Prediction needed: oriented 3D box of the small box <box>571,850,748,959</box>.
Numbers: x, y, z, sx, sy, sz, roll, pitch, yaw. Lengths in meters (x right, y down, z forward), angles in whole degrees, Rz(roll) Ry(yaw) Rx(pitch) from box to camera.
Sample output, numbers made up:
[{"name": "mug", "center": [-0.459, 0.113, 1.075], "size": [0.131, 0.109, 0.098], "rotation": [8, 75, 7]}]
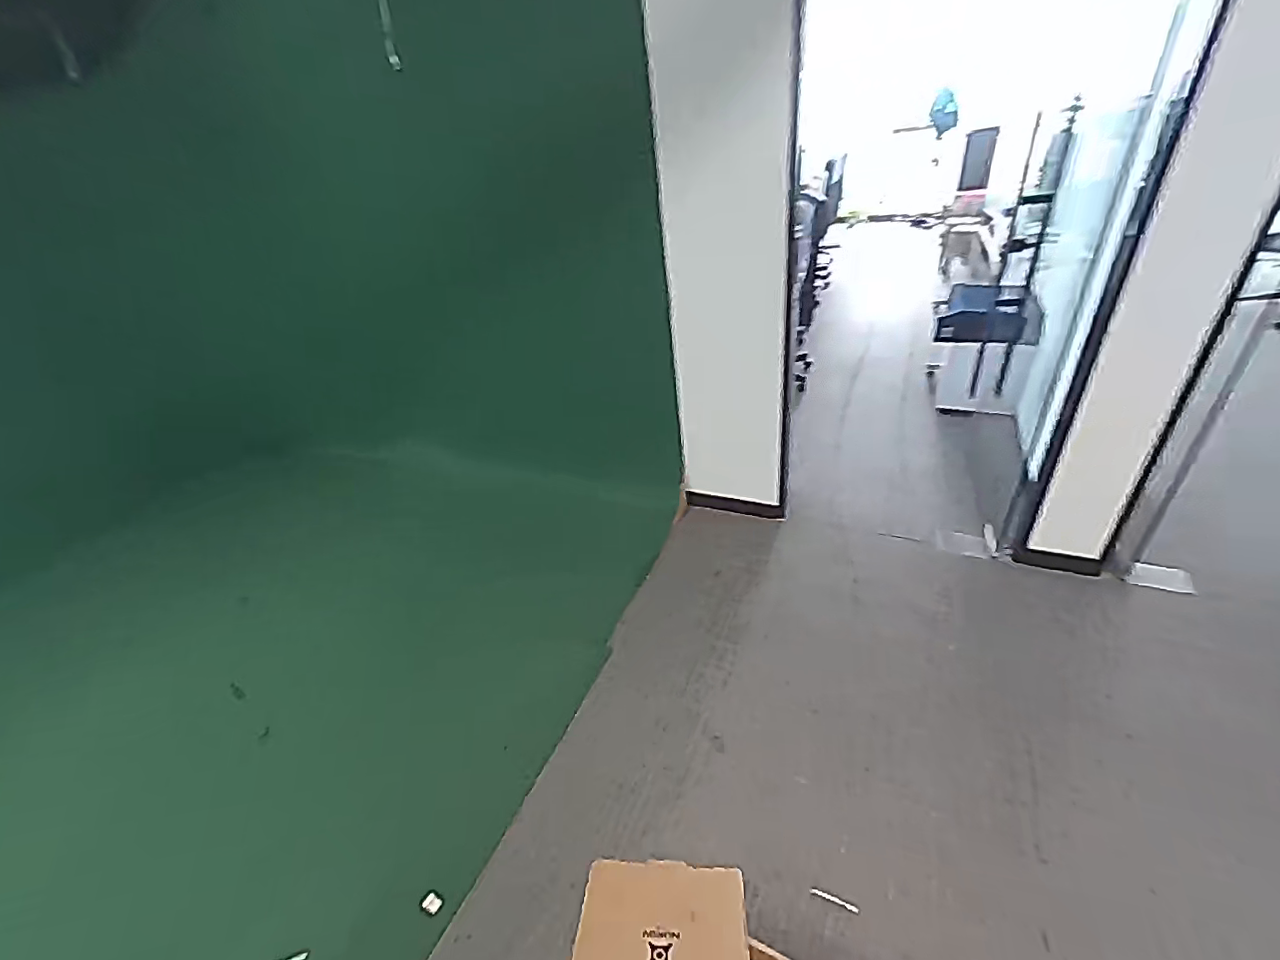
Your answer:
[{"name": "small box", "center": [0.022, 0.516, 0.539], "size": [0.168, 0.176, 0.179], "rotation": [-1, 12, 5]}]
